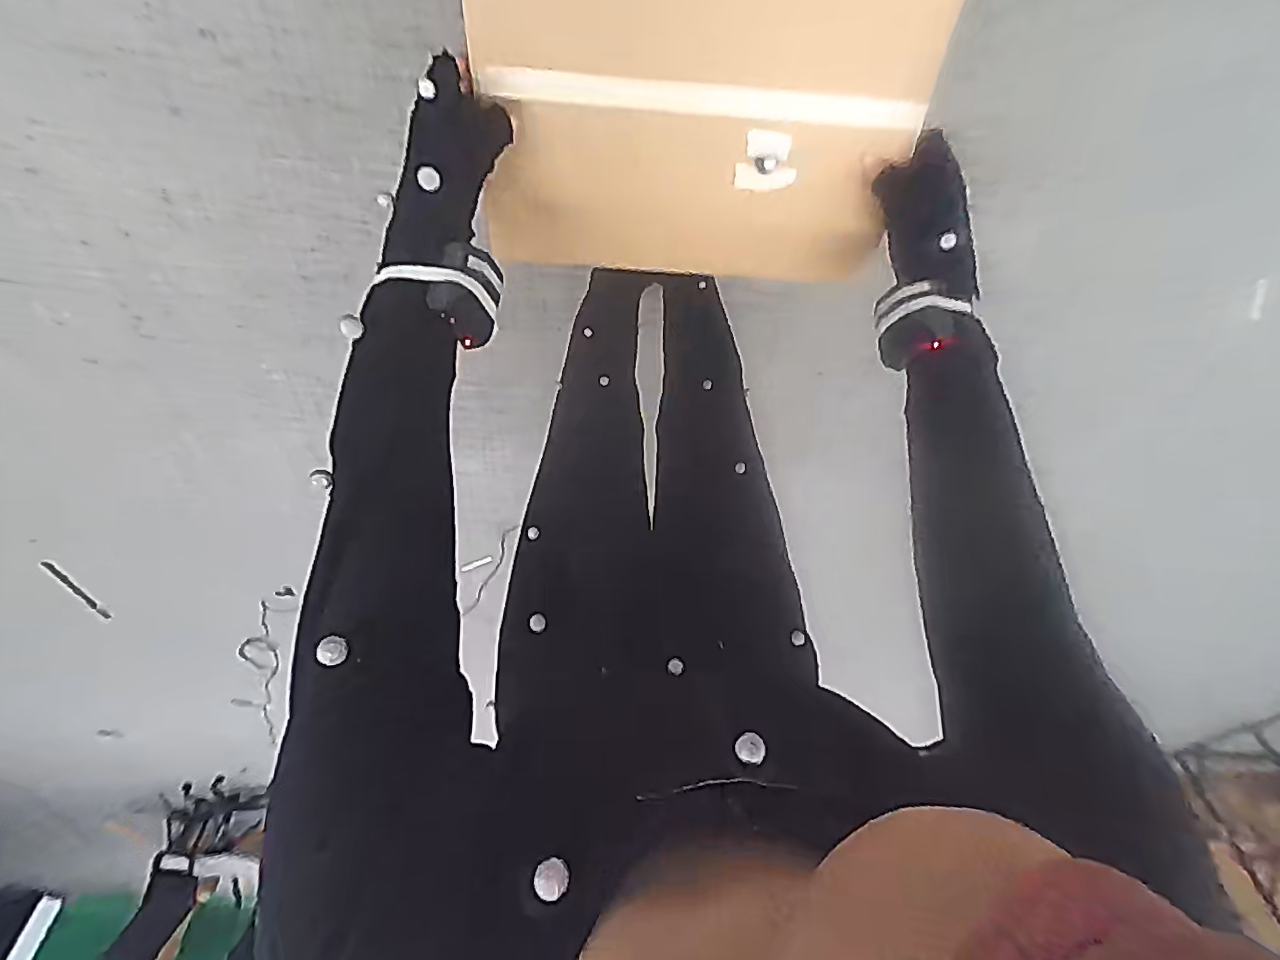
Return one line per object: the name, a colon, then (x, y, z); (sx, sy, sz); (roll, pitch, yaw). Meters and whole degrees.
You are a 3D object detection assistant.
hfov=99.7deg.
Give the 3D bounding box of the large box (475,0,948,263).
large box: (0.052, -0.456, 0.601); (0.408, 0.320, 0.320); (1, 132, -4)
